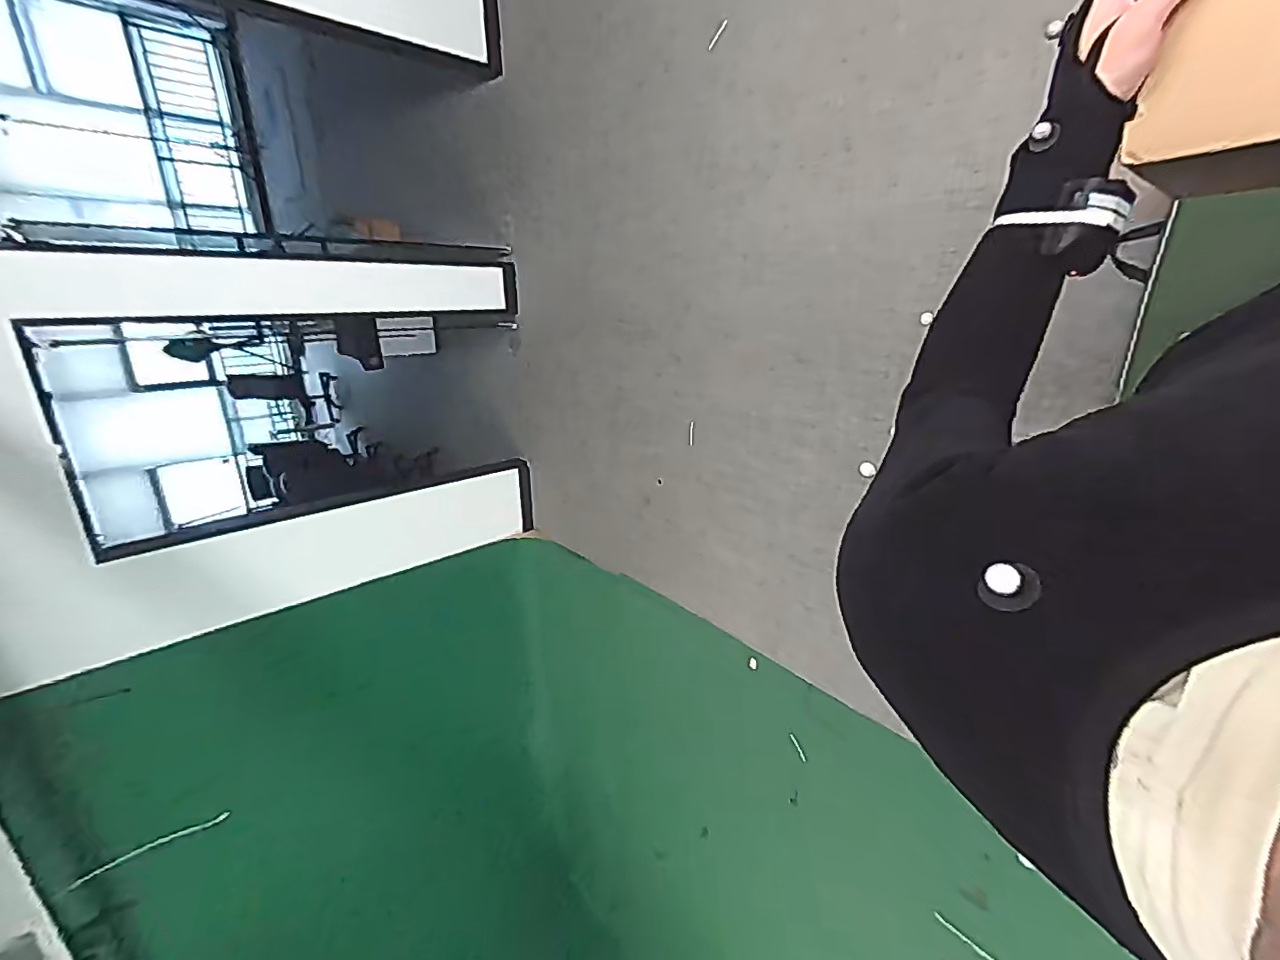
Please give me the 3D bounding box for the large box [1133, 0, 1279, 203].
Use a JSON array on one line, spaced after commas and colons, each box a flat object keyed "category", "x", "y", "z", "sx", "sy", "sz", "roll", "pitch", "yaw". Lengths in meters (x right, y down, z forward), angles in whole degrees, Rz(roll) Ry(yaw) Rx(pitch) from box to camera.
[{"category": "large box", "x": 0.631, "y": -0.404, "z": 0.354, "sx": 0.408, "sy": 0.320, "sz": 0.320, "roll": 14, "pitch": 114, "yaw": 46}]
